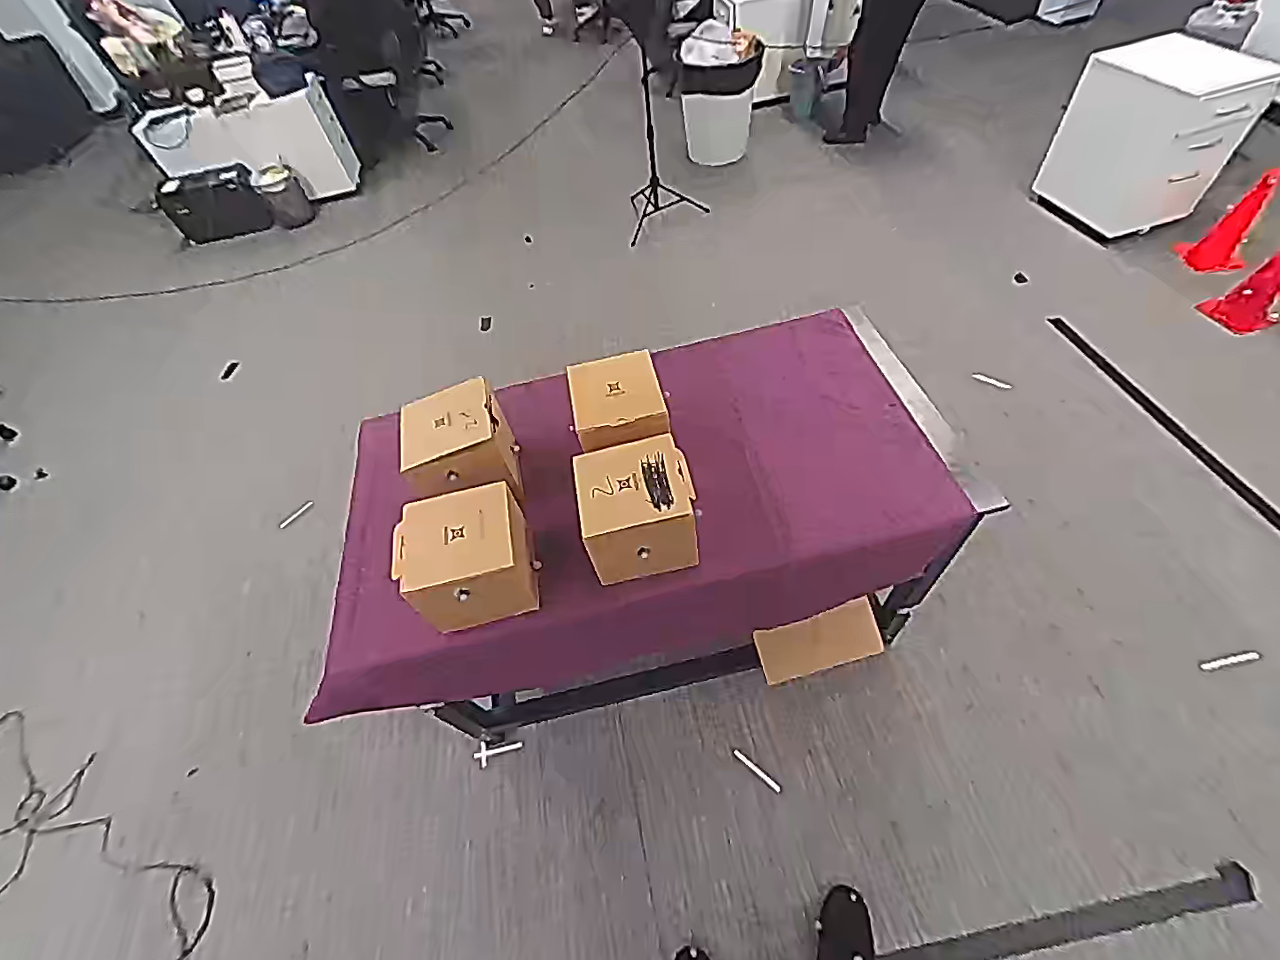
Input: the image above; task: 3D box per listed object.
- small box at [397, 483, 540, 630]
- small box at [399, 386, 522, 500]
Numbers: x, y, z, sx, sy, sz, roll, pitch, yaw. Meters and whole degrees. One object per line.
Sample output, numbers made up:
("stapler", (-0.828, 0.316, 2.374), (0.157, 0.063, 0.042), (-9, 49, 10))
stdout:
("small box", (-0.281, 0.134, 0.909), (0.179, 0.176, 0.168), (-13, 54, -3))
("small box", (-0.344, -0.050, 1.051), (0.179, 0.176, 0.168), (-15, 54, -3))
